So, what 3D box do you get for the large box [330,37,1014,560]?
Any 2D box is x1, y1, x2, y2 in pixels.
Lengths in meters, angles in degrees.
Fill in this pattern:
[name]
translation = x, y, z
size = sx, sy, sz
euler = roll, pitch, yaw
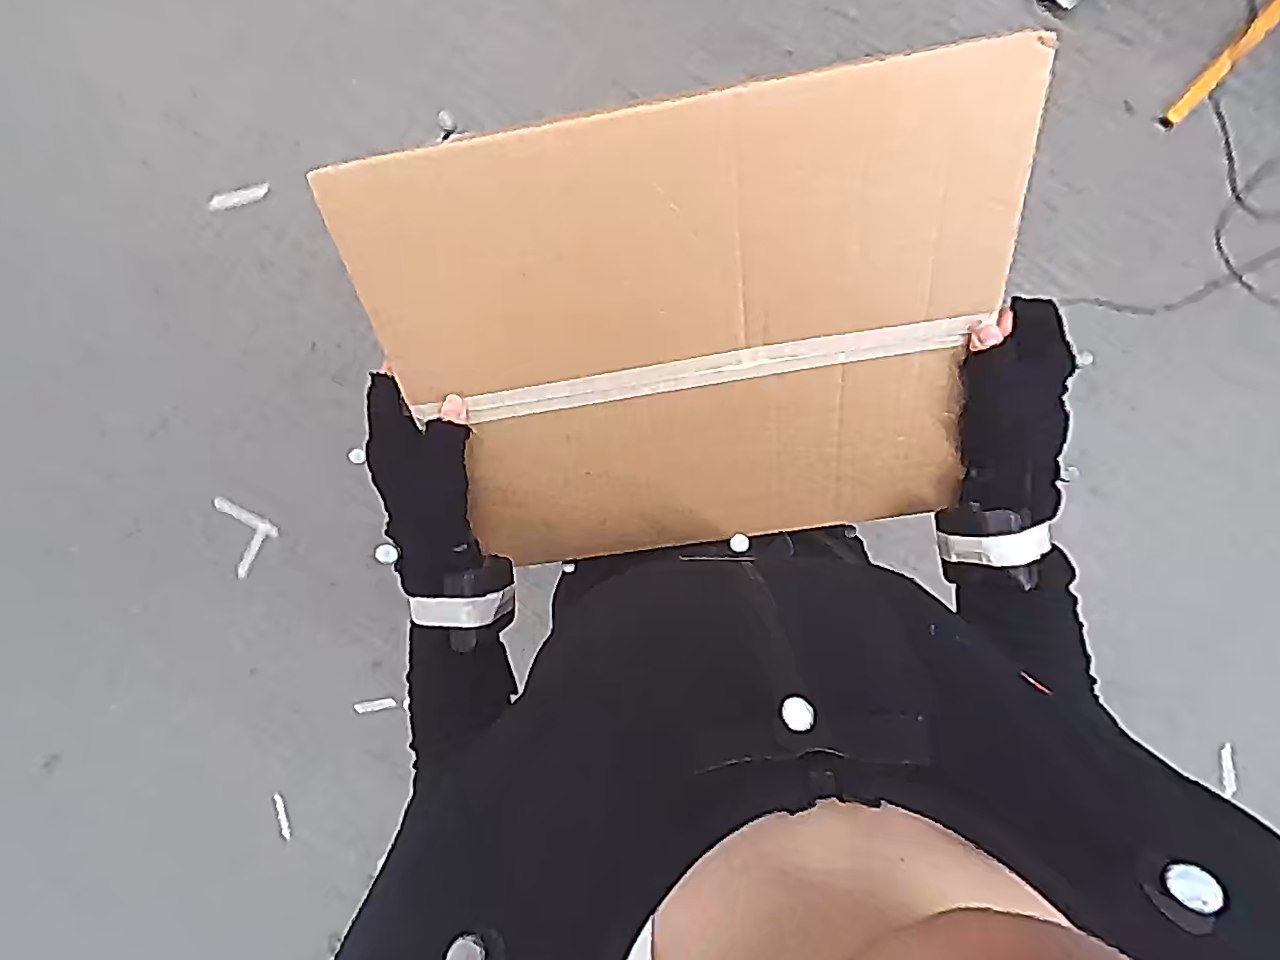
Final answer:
[large box]
translation = 0.028, -0.165, 0.510
size = 0.408, 0.320, 0.320
euler = -9, 126, 4
